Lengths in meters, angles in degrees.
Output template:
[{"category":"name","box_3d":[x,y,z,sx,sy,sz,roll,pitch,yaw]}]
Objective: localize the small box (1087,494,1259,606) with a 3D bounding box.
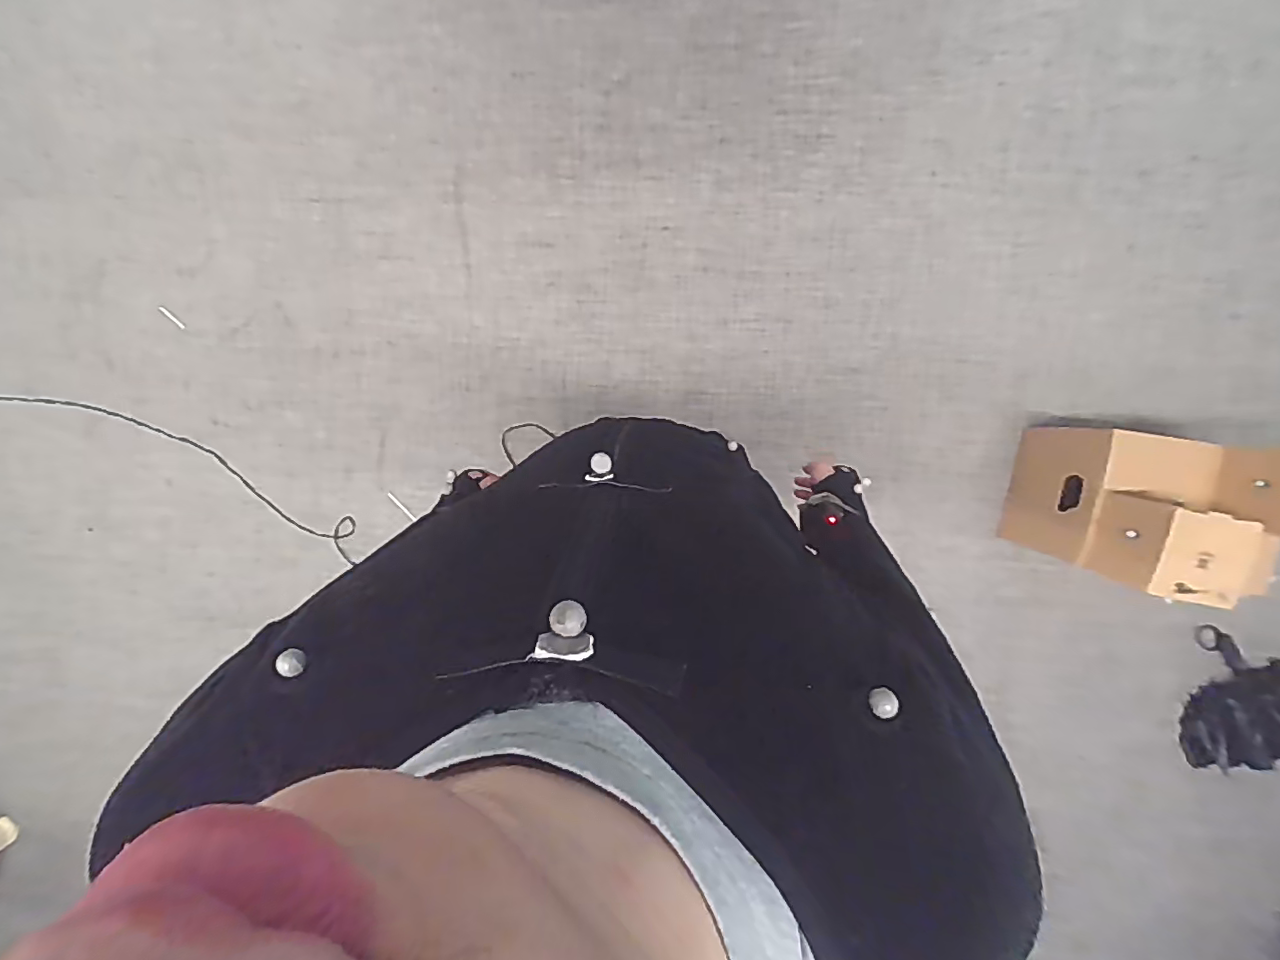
[{"category":"small box","box_3d":[1.071,0.134,1.105,0.168,0.176,0.179,10,98,1]}]

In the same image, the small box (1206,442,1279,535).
[{"category":"small box","box_3d":[1.308,0.023,1.082,0.168,0.176,0.179,10,94,2]}]
